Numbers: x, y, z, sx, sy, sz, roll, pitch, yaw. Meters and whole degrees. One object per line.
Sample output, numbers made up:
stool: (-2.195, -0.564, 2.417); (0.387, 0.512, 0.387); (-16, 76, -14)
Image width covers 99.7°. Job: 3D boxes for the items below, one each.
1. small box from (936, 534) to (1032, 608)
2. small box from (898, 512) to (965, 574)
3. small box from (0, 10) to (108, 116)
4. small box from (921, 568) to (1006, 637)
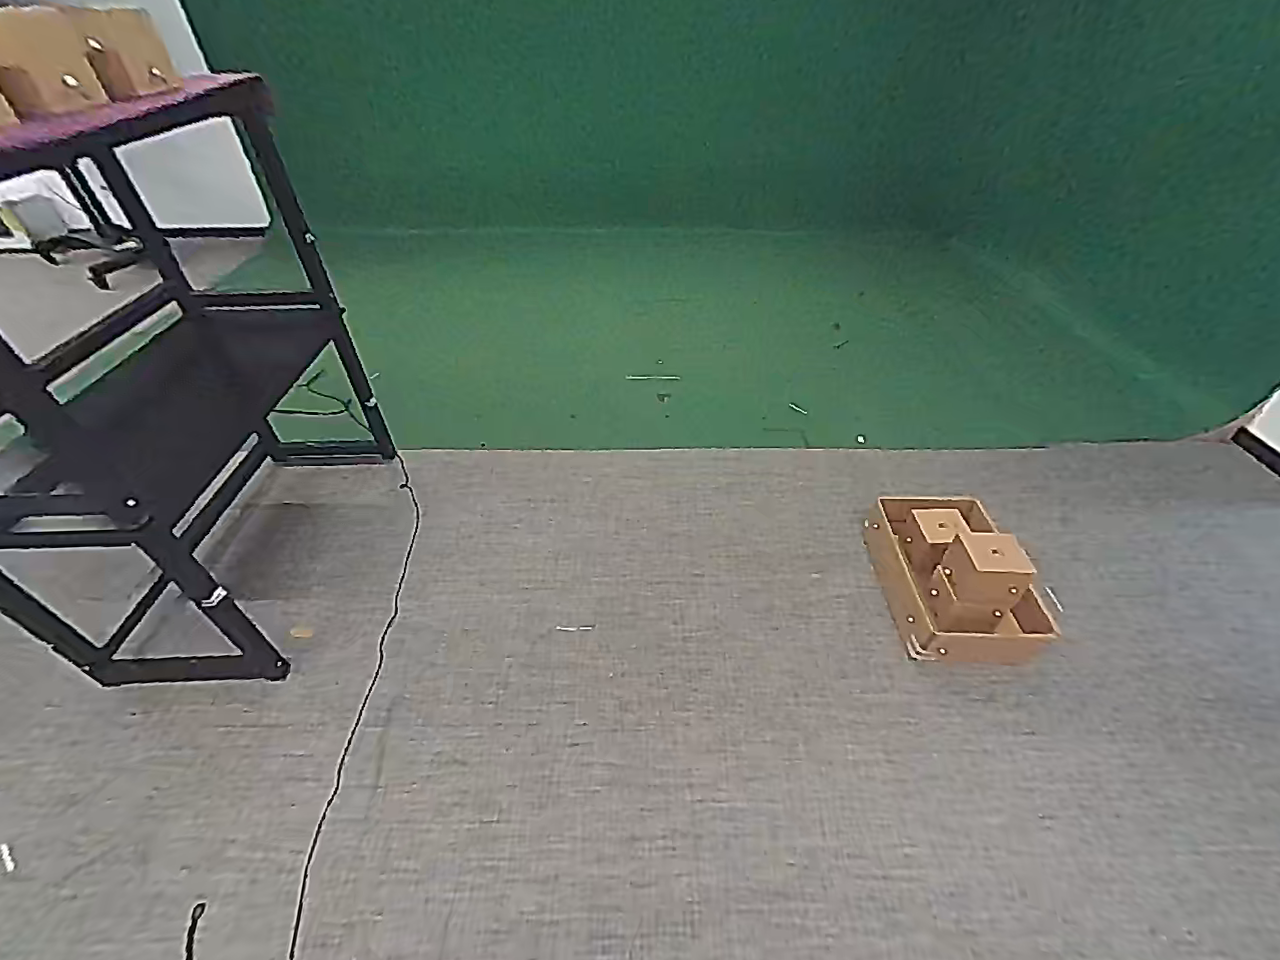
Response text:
small box: (1.081, 0.291, 1.714); (0.179, 0.176, 0.168); (2, 40, 2)
small box: (1.084, 0.237, 2.014); (0.179, 0.176, 0.168); (0, 43, 0)
small box: (-1.305, -0.872, 1.134); (0.179, 0.176, 0.168); (0, 42, 0)
small box: (1.077, 0.414, 1.822); (0.179, 0.176, 0.168); (1, 42, 0)
